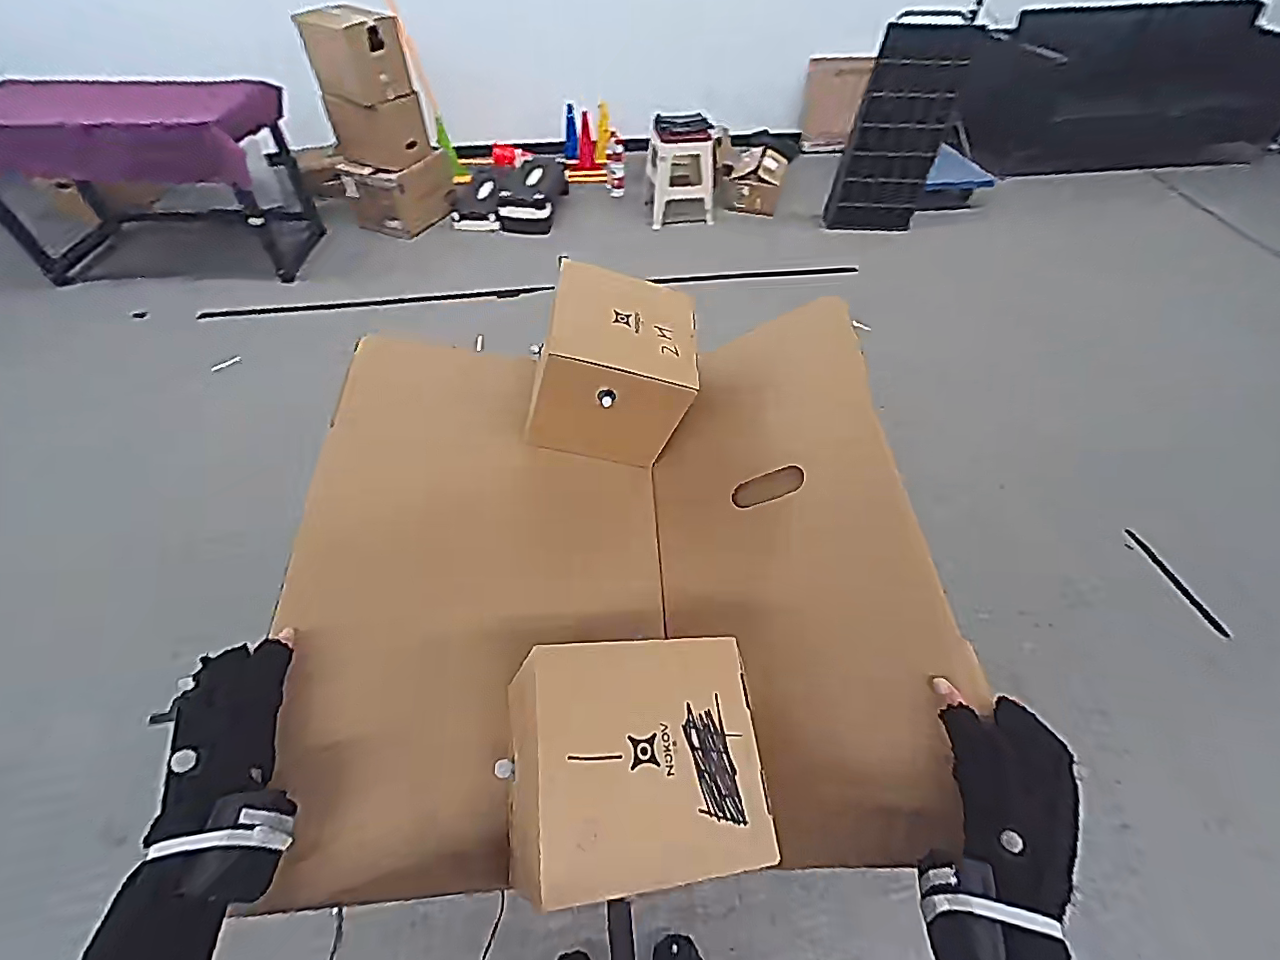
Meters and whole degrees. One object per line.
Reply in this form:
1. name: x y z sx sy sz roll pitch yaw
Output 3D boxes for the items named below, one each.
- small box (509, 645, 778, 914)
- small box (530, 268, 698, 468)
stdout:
1. small box: -0.013 0.246 0.469 0.179 0.176 0.168 3 59 -19
2. small box: -0.038 -0.134 0.700 0.179 0.176 0.168 12 56 -15
